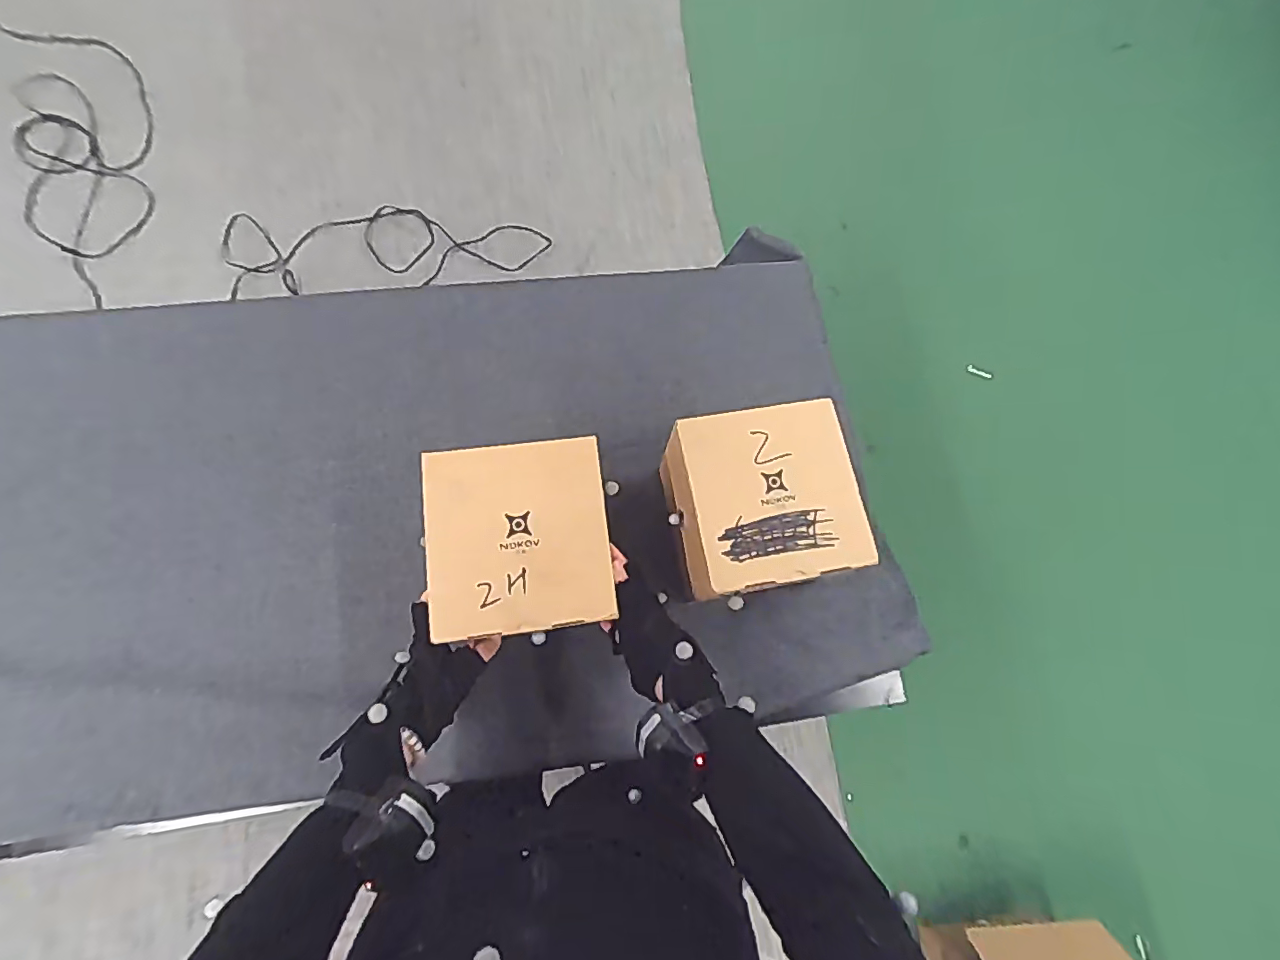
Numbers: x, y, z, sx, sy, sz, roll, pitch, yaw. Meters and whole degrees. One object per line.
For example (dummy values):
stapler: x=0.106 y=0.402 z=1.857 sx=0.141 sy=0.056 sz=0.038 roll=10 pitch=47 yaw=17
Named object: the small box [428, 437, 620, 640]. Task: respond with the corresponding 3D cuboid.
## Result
small box: x=-0.115 y=0.070 z=0.570 sx=0.168 sy=0.176 sz=0.179 roll=-6 pitch=75 yaw=-6
